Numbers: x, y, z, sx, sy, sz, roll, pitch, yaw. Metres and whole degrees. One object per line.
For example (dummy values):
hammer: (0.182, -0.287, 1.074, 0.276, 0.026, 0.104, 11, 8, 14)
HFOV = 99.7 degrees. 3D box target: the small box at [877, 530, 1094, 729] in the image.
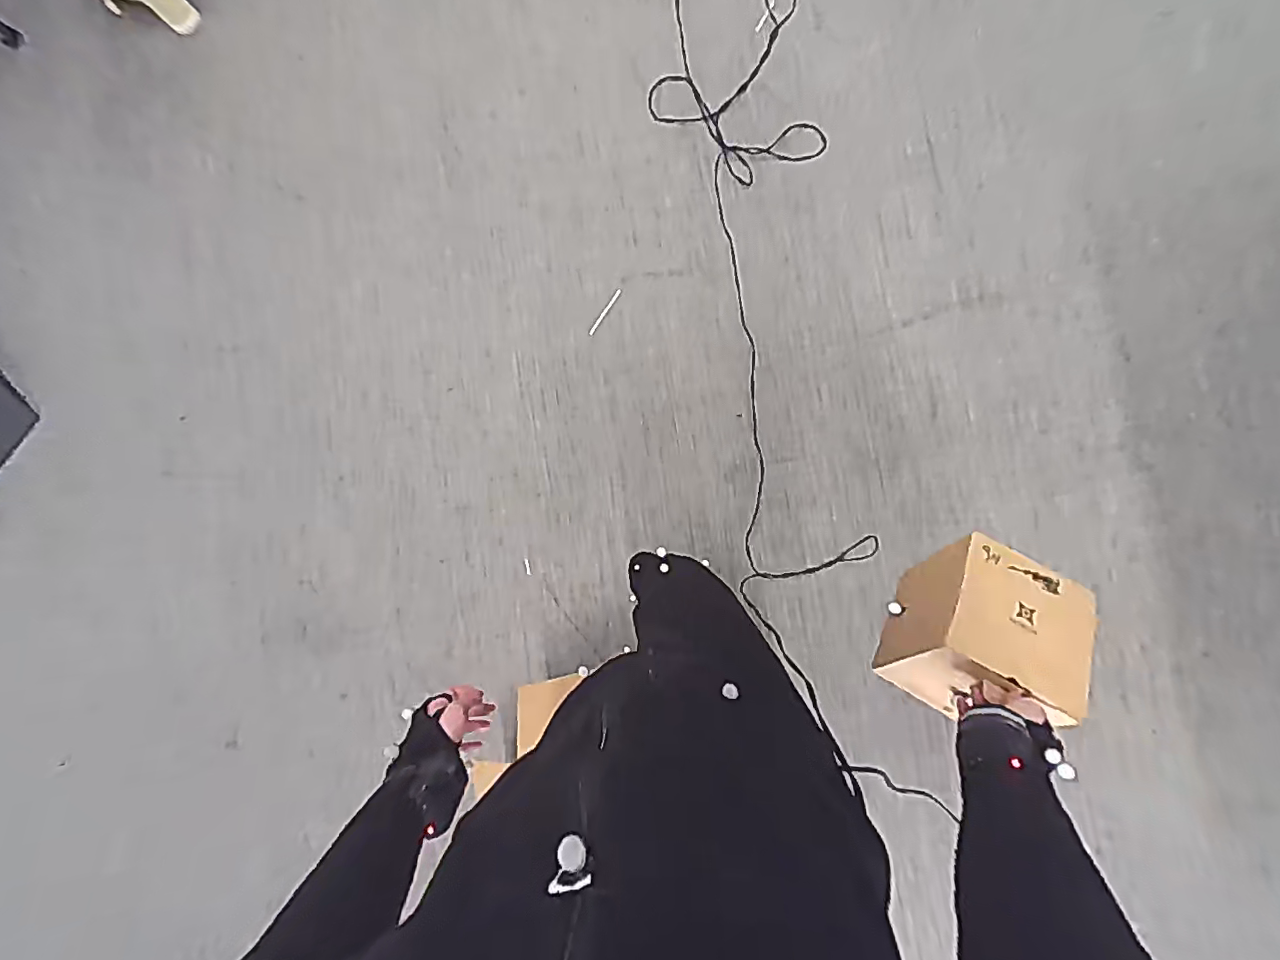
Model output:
small box: (0.441, 0.204, 0.713, 0.168, 0.176, 0.179, 29, 61, 8)
